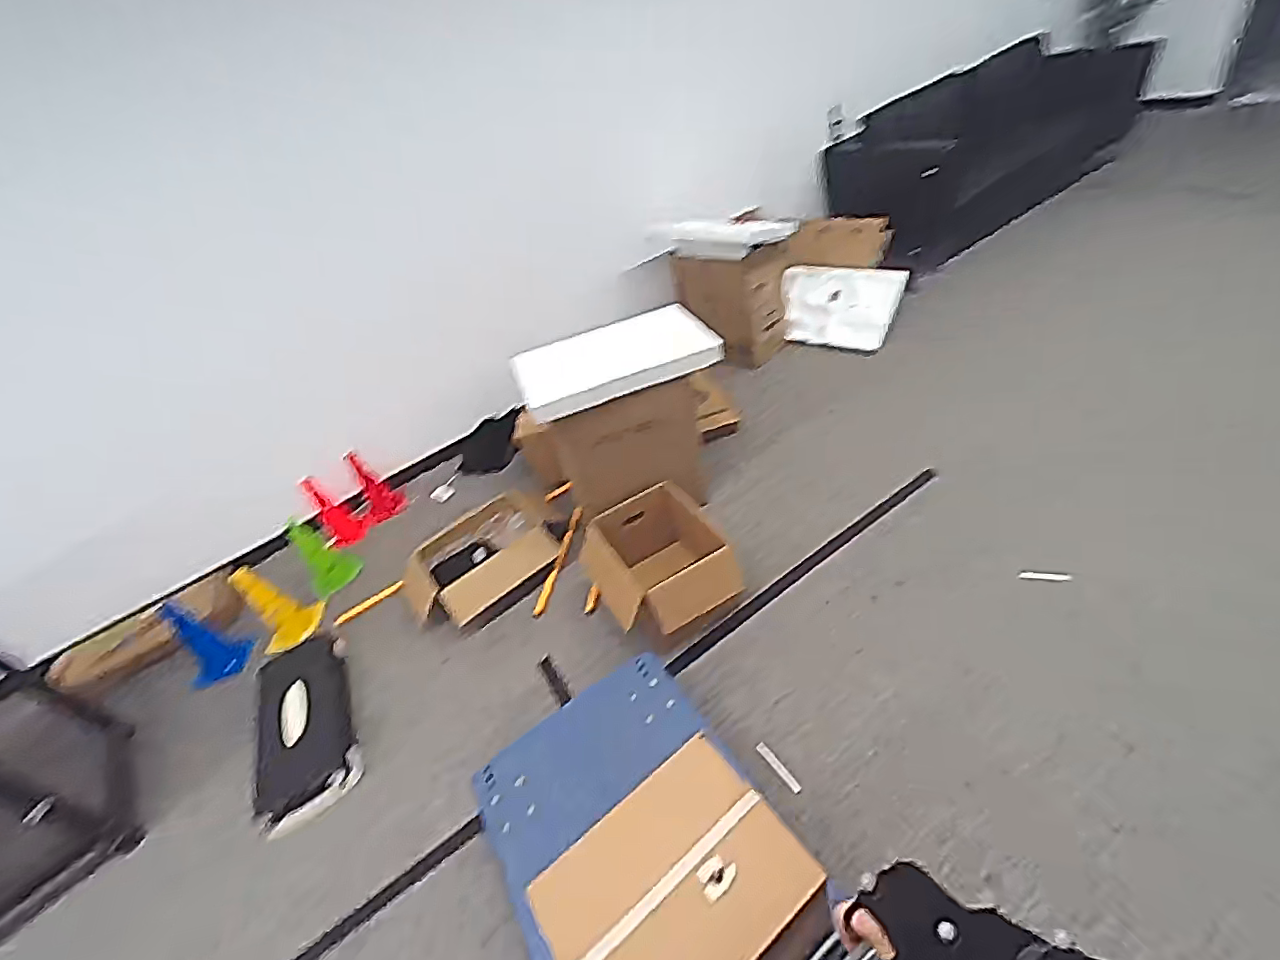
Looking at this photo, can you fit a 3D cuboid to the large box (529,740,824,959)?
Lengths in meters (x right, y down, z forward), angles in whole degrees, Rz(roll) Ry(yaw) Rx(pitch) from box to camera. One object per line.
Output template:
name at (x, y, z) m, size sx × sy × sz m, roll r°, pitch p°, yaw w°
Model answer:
large box at (0.081, 0.786, 0.975) m, size 0.408 × 0.320 × 0.320 m, roll -33°, pitch 41°, yaw -21°
